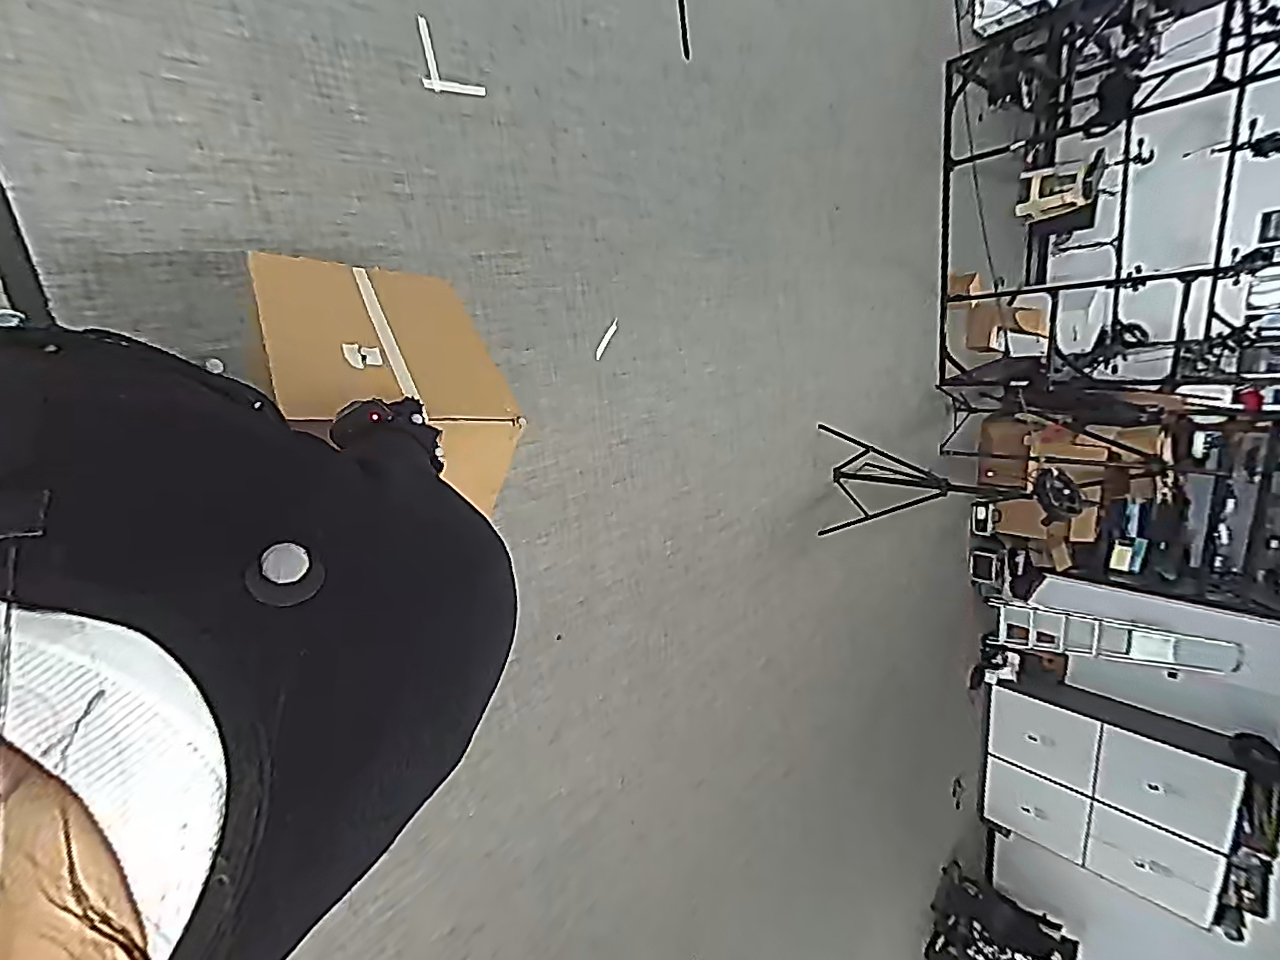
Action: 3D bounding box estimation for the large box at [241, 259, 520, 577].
[{"bbox_3d":[-0.461,-0.106,0.917,0.320,0.408,0.320,-6,140,-39],"label":"large box"}]
